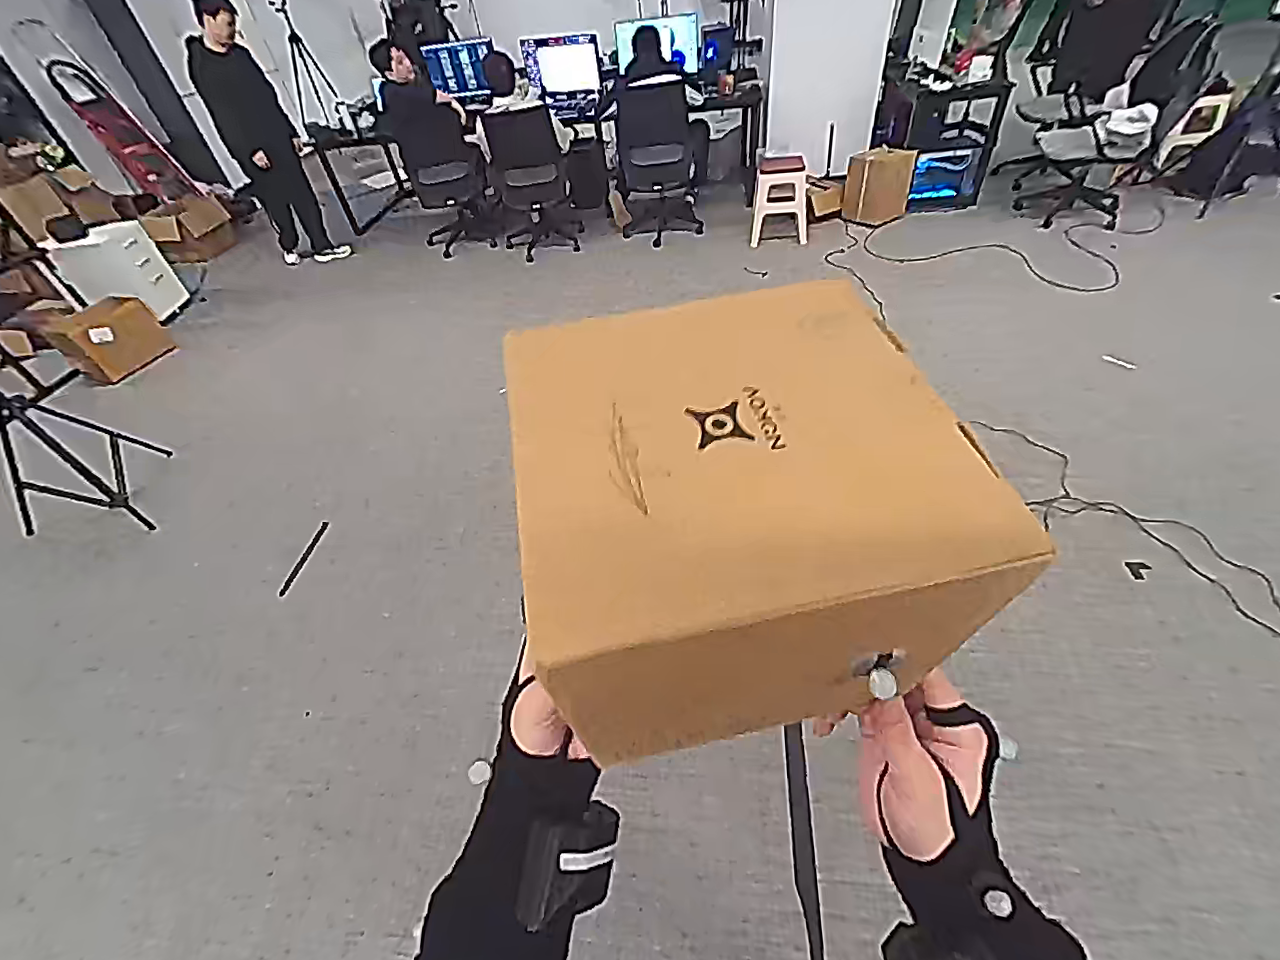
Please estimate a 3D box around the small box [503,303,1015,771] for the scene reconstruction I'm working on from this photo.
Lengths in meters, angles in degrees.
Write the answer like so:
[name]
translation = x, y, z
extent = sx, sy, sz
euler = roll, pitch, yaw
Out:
[small box]
translation = 0.038, 0.036, 0.293
extent = 0.179, 0.176, 0.168
euler = -13, 52, -4
